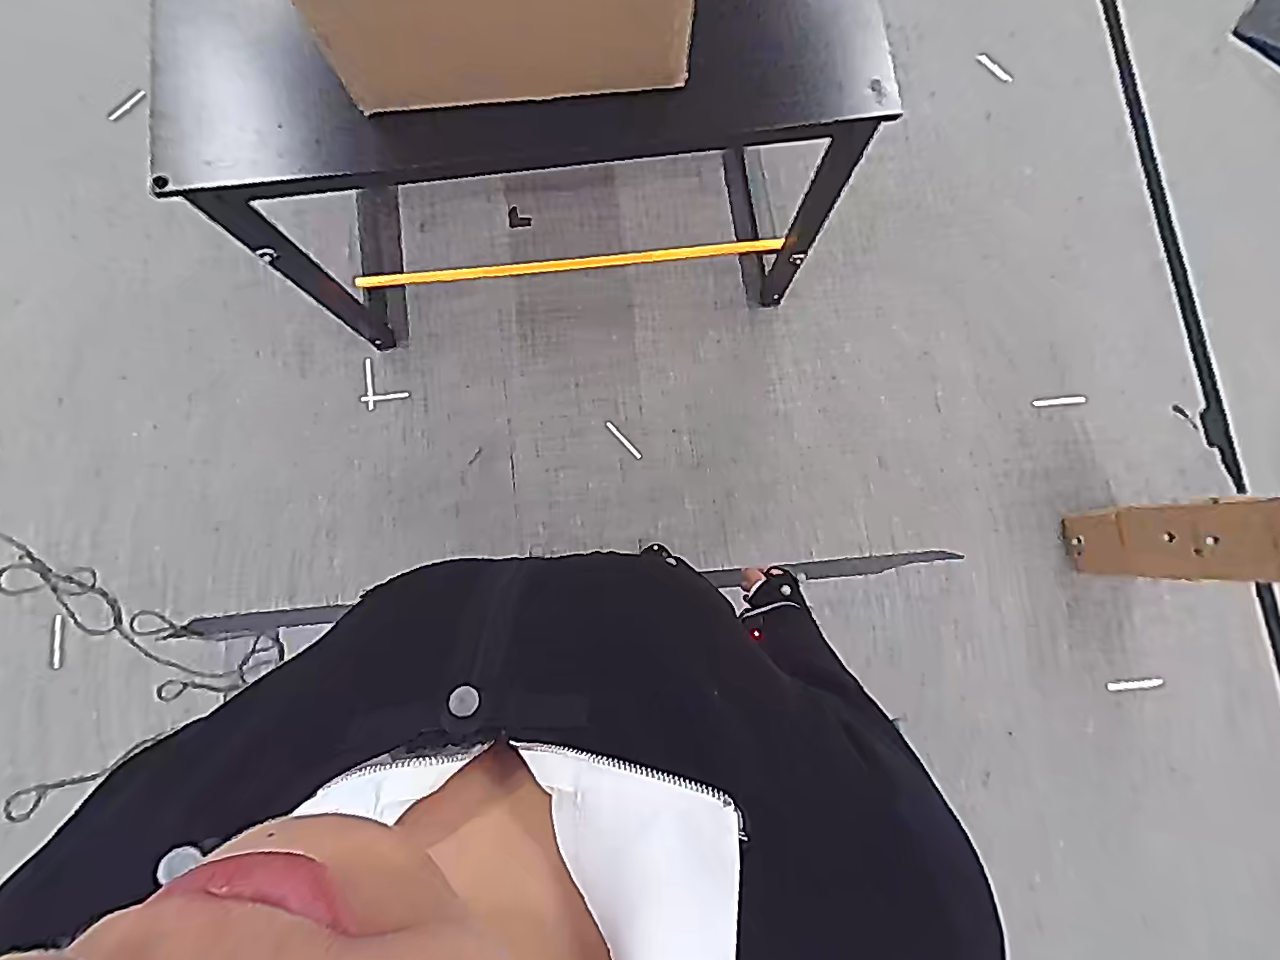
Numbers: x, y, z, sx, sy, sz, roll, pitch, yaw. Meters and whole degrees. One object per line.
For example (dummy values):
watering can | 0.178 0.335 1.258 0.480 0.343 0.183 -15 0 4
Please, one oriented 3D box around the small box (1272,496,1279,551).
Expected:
small box | 1.288 0.094 0.948 0.179 0.176 0.168 -6 82 0

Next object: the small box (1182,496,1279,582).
small box | 1.290 0.118 1.110 0.179 0.176 0.168 -4 82 0

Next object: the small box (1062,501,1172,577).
small box | 1.285 0.157 1.437 0.179 0.176 0.168 -12 82 0

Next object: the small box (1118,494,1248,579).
small box | 1.286 0.136 1.274 0.168 0.176 0.179 -7 83 -1
